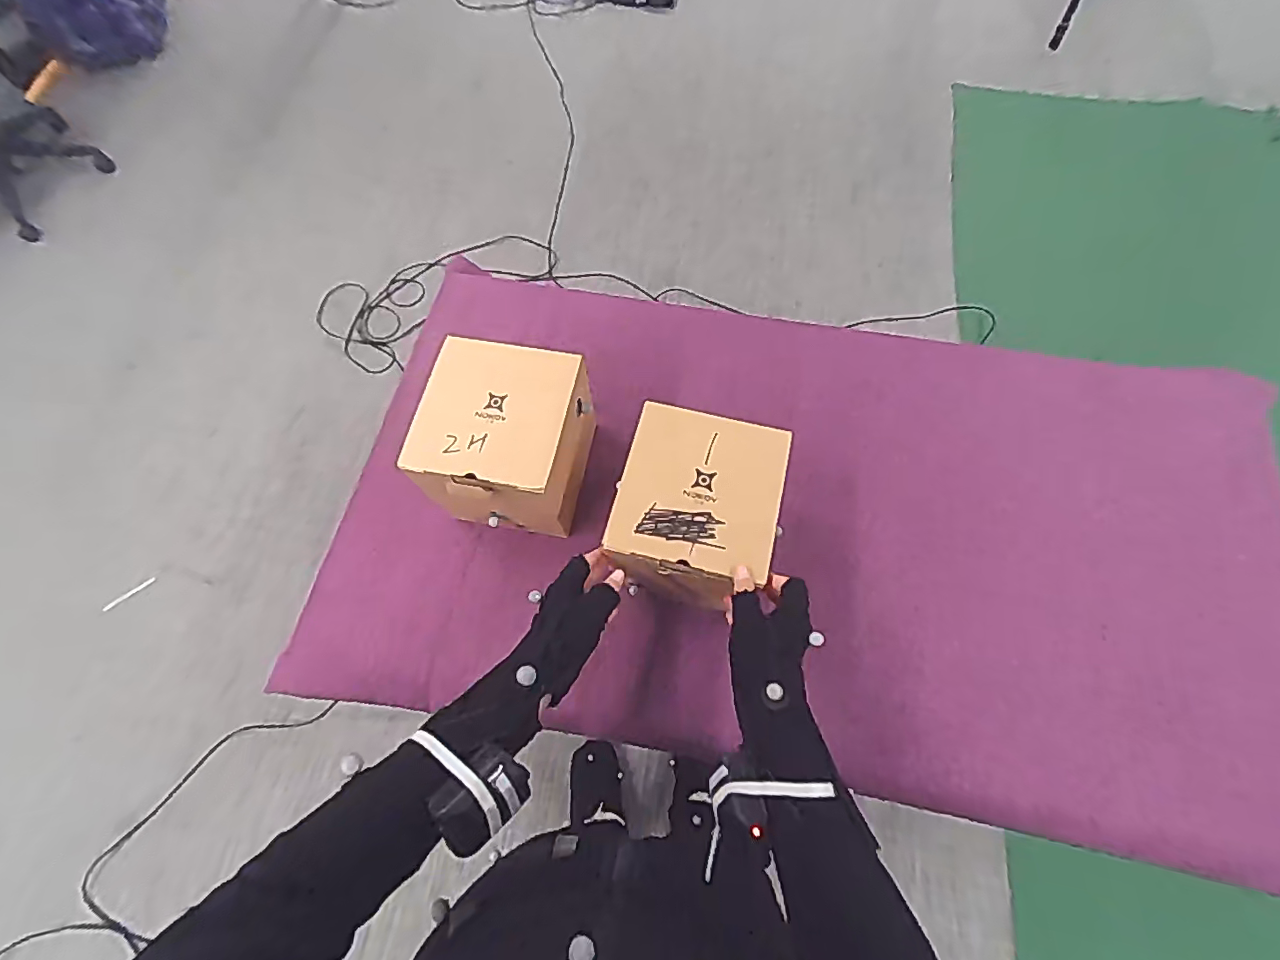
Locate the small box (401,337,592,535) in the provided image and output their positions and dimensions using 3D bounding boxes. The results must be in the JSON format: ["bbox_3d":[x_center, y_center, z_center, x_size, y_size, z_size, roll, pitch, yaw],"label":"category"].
[{"bbox_3d":[-0.160,-0.048,0.676,0.168,0.176,0.179,10,68,6],"label":"small box"}]

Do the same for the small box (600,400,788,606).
[{"bbox_3d":[0.063,0.037,0.636,0.168,0.176,0.179,13,68,7],"label":"small box"}]
